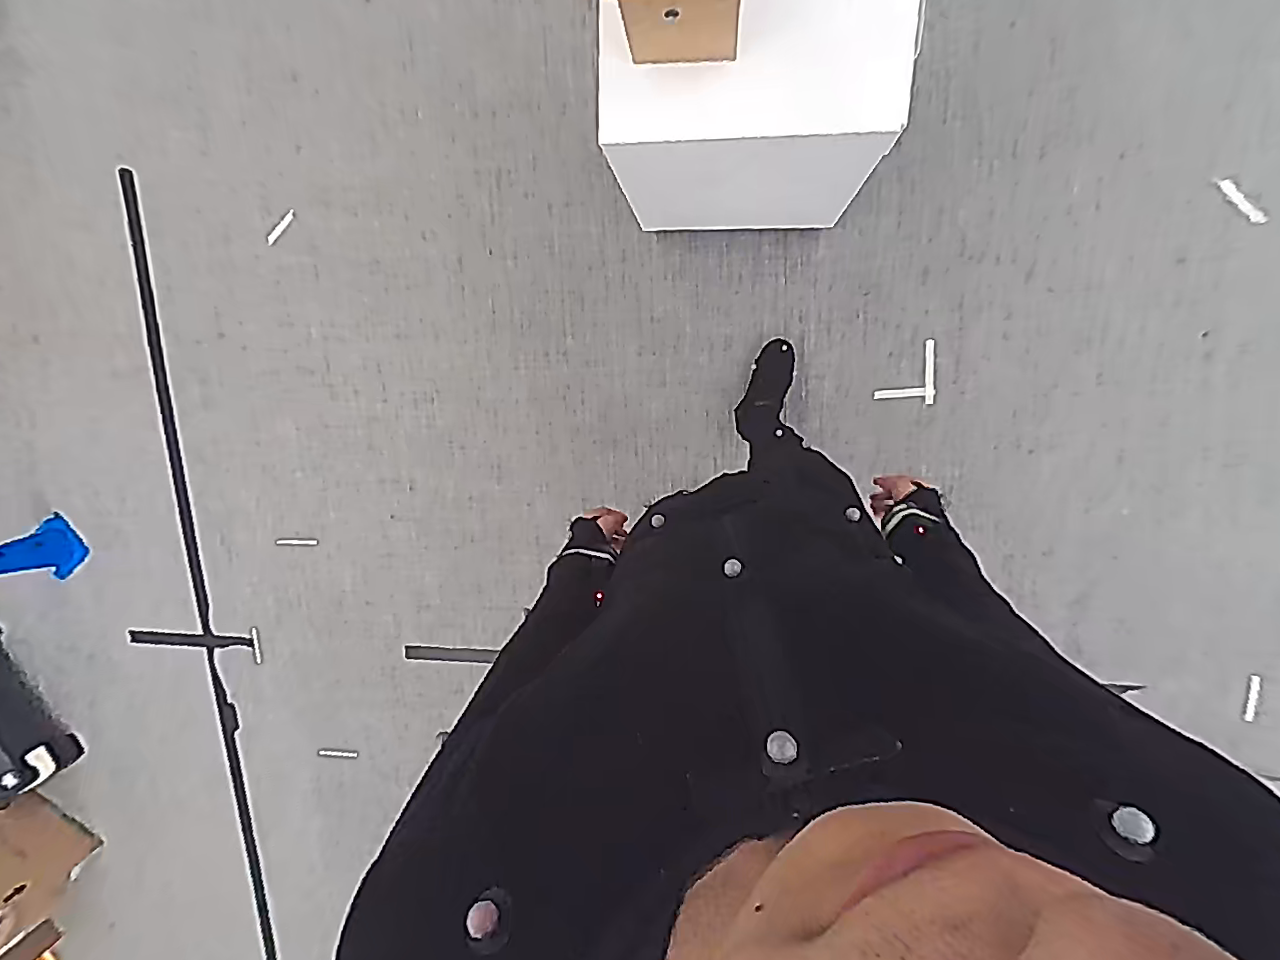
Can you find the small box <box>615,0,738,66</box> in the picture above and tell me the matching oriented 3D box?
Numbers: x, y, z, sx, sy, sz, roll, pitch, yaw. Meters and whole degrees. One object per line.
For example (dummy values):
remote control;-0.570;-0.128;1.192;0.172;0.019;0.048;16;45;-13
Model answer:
small box;0.062;-0.766;0.821;0.179;0.176;0.168;4;100;6
